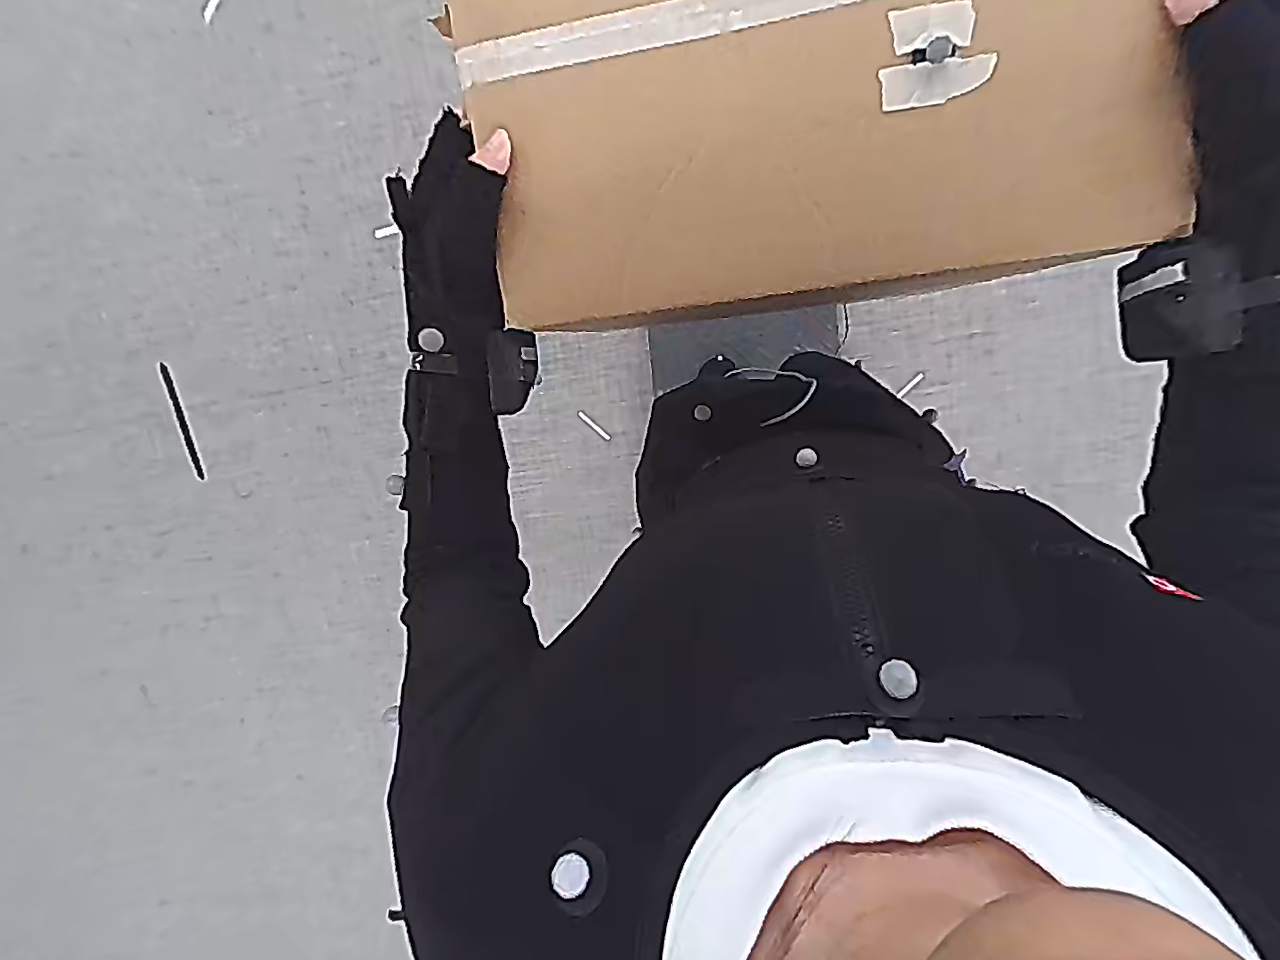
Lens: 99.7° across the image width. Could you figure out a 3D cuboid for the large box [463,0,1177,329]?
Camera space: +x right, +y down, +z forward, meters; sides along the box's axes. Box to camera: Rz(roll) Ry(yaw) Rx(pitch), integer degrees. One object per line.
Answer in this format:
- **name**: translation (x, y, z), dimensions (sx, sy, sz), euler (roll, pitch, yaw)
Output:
- **large box**: translation (0.107, -0.316, 0.457), dimensions (0.408, 0.320, 0.320), euler (-6, 105, 9)
